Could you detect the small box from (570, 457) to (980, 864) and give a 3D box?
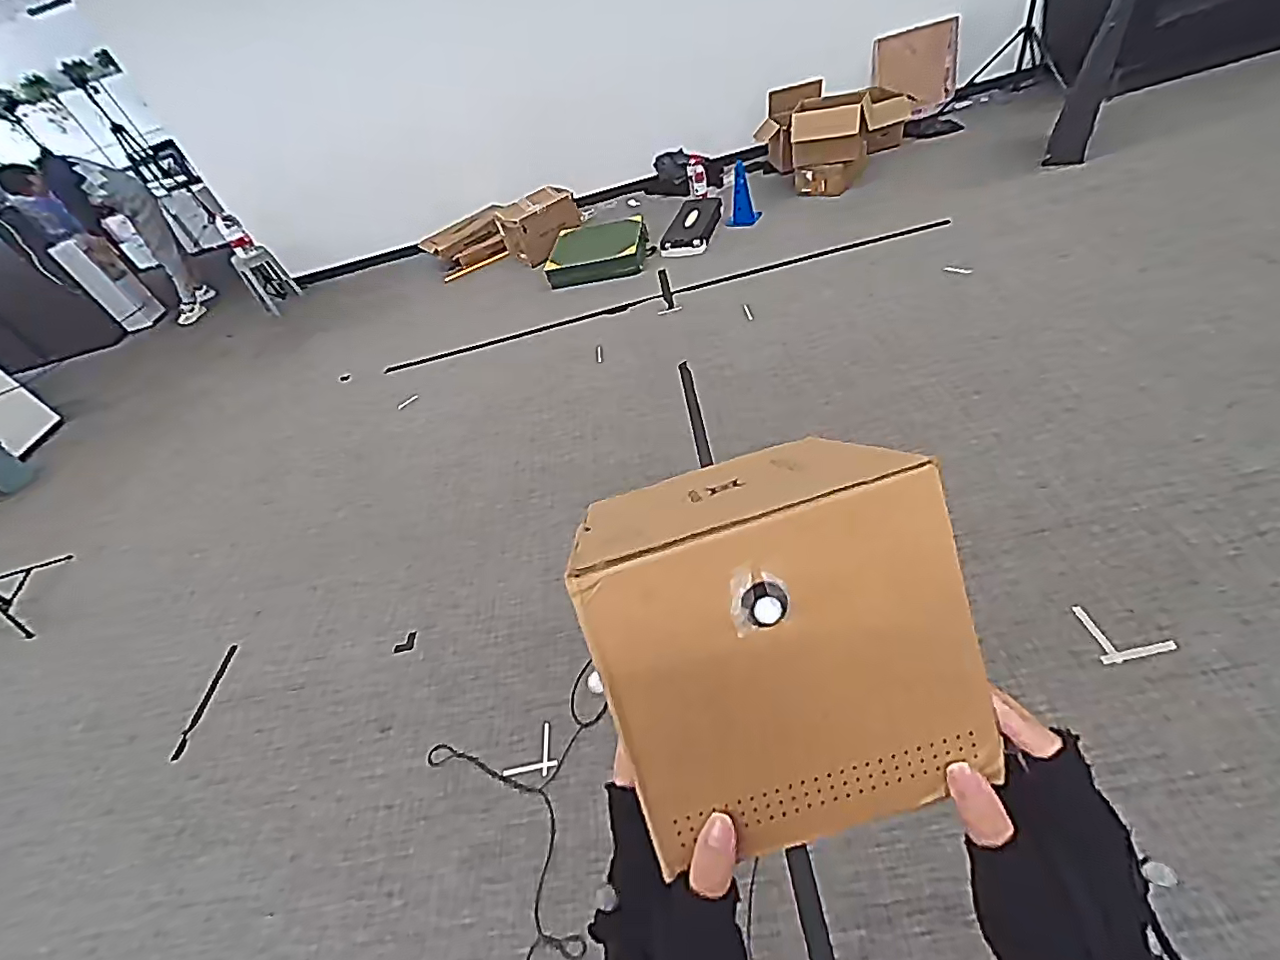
[{"bbox_3d":[0.073,0.096,0.344,0.179,0.176,0.168,-17,7,2],"label":"small box"}]
